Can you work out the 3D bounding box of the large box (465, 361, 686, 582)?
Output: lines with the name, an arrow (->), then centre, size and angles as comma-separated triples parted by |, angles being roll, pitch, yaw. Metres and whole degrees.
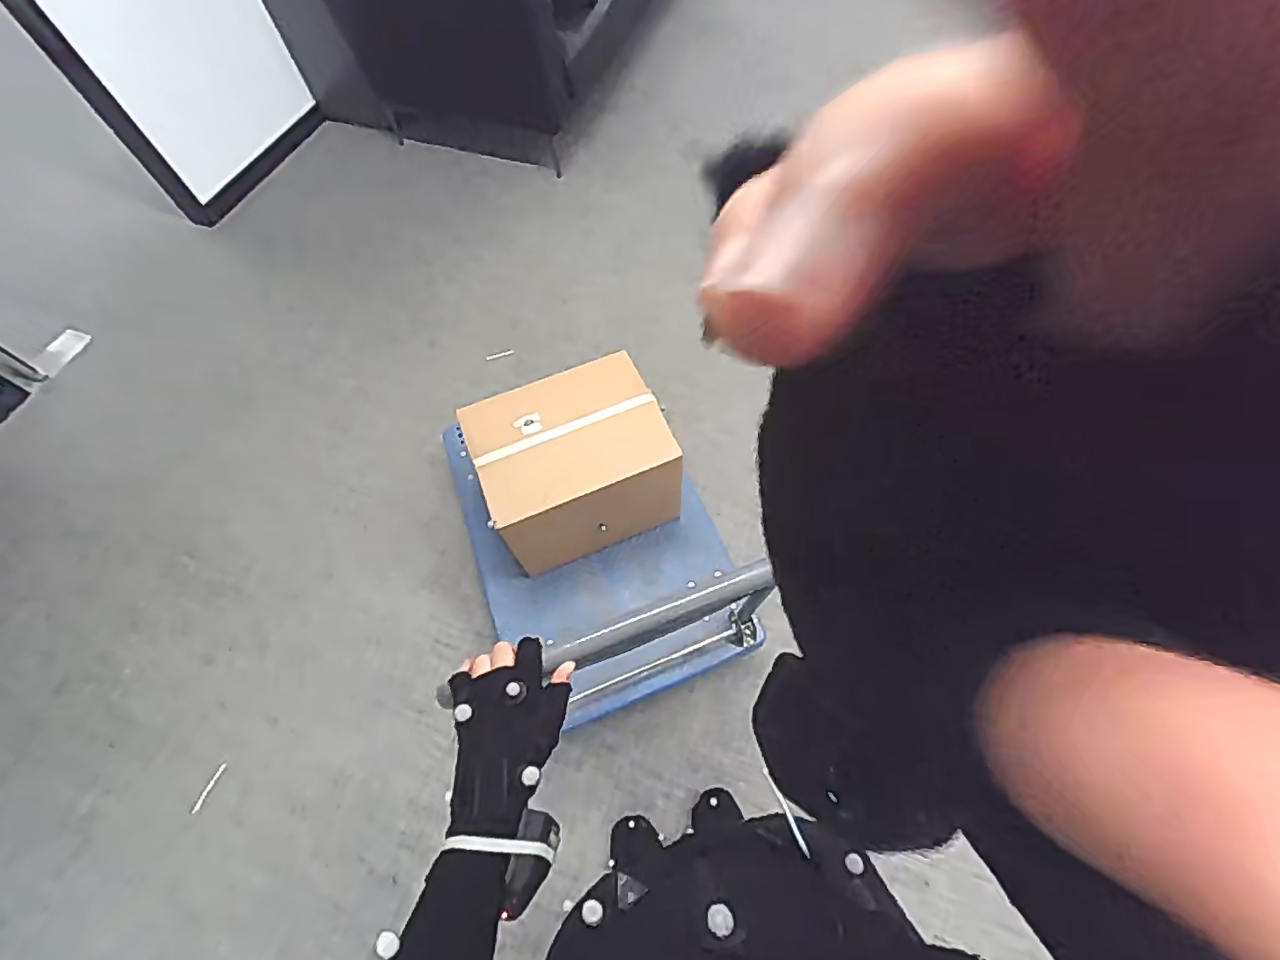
large box -> -0.138, -0.010, 1.280 | 0.408, 0.320, 0.320 | -23, 63, -8
